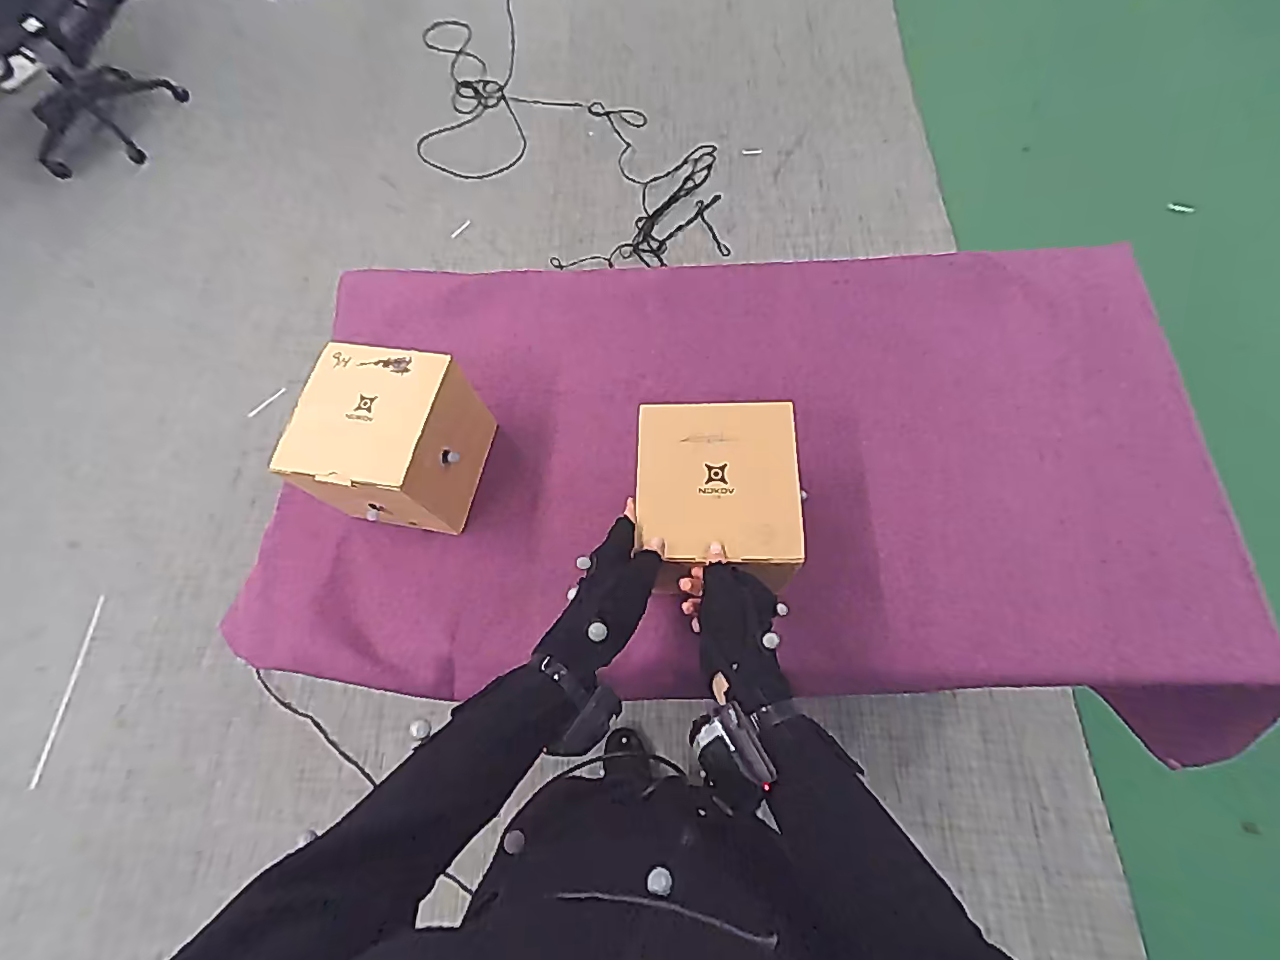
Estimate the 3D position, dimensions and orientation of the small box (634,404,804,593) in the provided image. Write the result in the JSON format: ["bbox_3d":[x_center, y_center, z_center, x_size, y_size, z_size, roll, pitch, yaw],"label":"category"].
[{"bbox_3d":[0.087,0.030,0.623,0.168,0.176,0.179,0,67,5],"label":"small box"}]

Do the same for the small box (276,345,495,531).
[{"bbox_3d":[-0.305,-0.046,0.694,0.168,0.176,0.179,8,69,9],"label":"small box"}]
